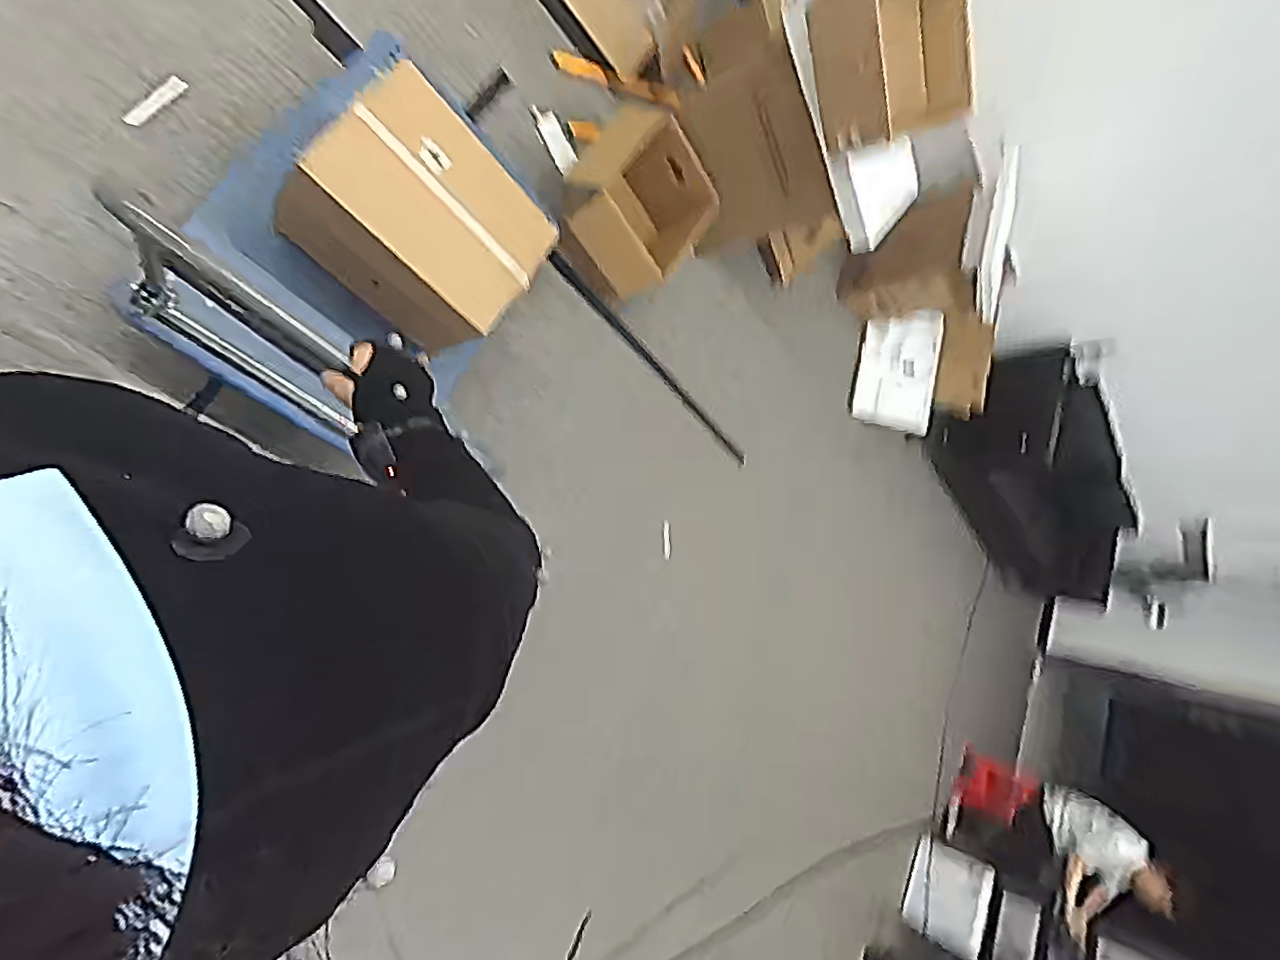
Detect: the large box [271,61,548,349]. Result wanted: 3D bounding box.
[{"bbox_3d":[-0.488,-0.547,1.169,0.408,0.320,0.320,42,65,-33],"label":"large box"}]
